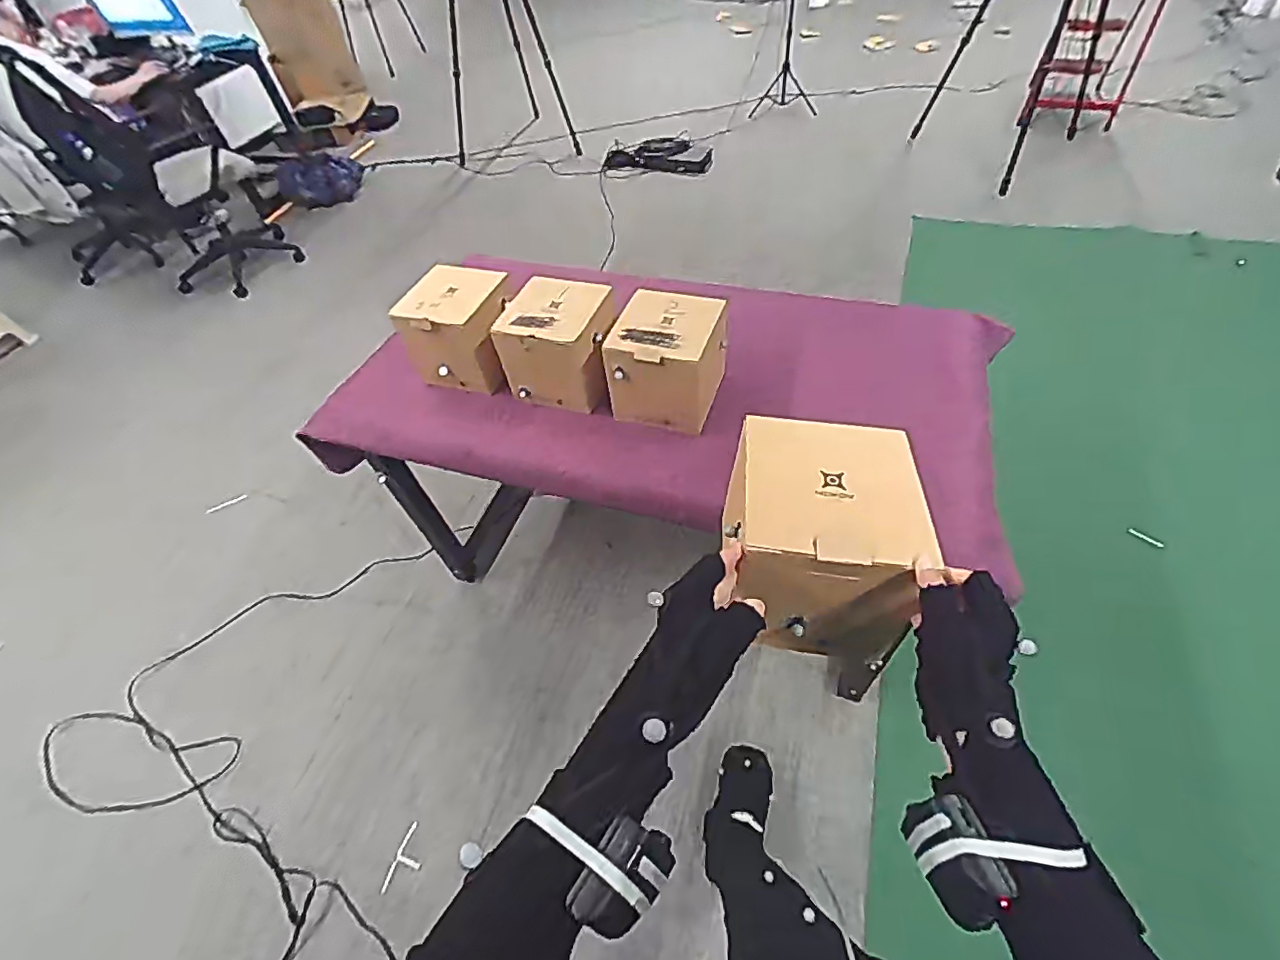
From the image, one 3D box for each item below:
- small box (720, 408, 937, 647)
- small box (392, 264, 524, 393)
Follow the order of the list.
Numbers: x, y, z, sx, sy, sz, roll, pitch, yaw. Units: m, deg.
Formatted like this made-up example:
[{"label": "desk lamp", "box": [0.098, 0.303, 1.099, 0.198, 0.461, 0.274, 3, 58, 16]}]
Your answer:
[{"label": "small box", "box": [0.178, 0.050, 0.572, 0.168, 0.176, 0.179, 6, 48, 5]}, {"label": "small box", "box": [-0.351, -0.305, 1.086, 0.168, 0.176, 0.179, 12, 55, 16]}]
